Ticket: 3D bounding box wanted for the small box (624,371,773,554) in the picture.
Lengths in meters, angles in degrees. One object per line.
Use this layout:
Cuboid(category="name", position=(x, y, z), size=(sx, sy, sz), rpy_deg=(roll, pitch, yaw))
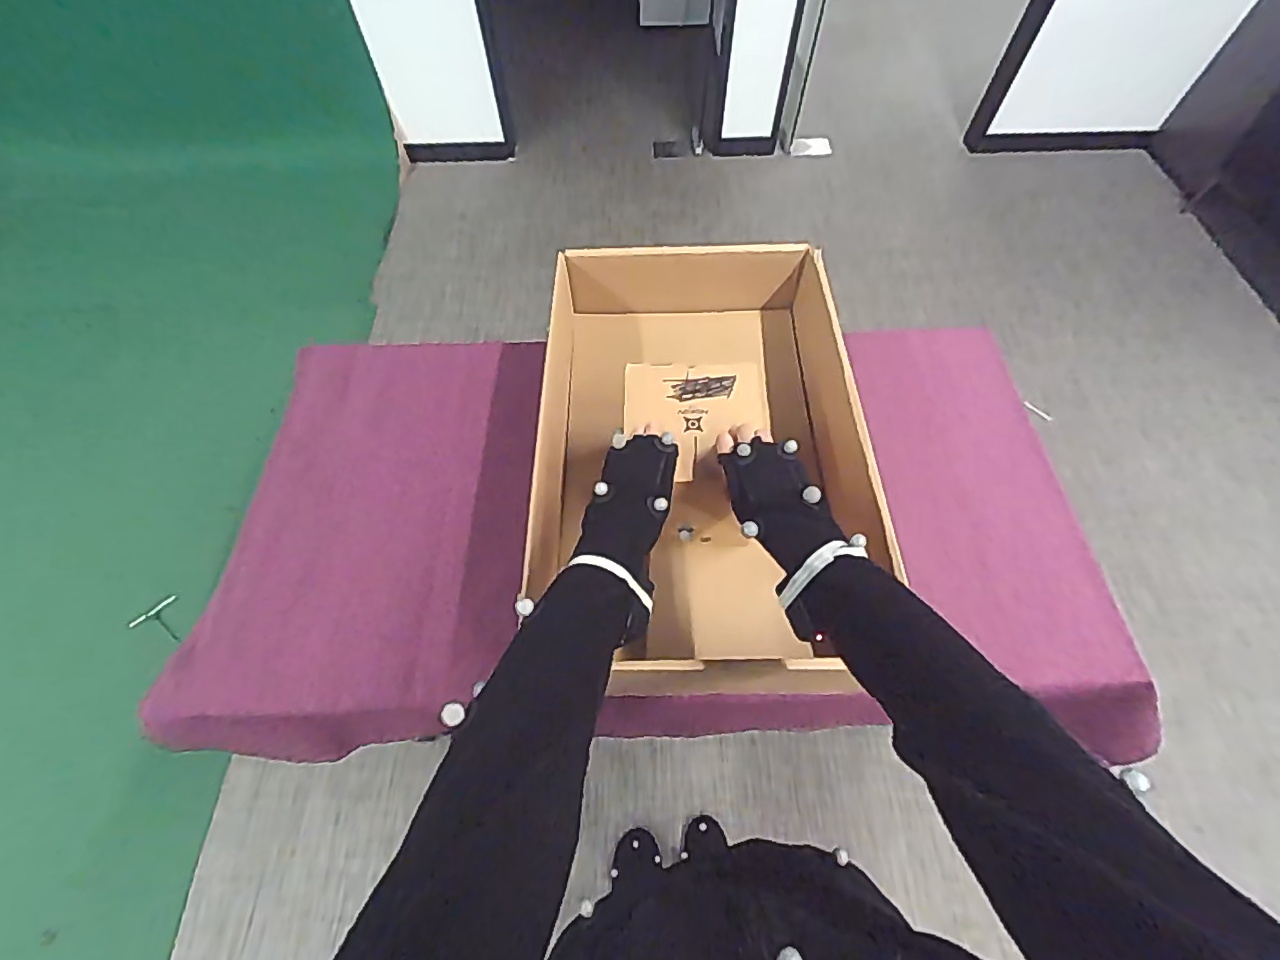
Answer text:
Cuboid(category="small box", position=(0.065, -0.020, 0.698), size=(0.168, 0.176, 0.179), rpy_deg=(-1, 59, 1))
